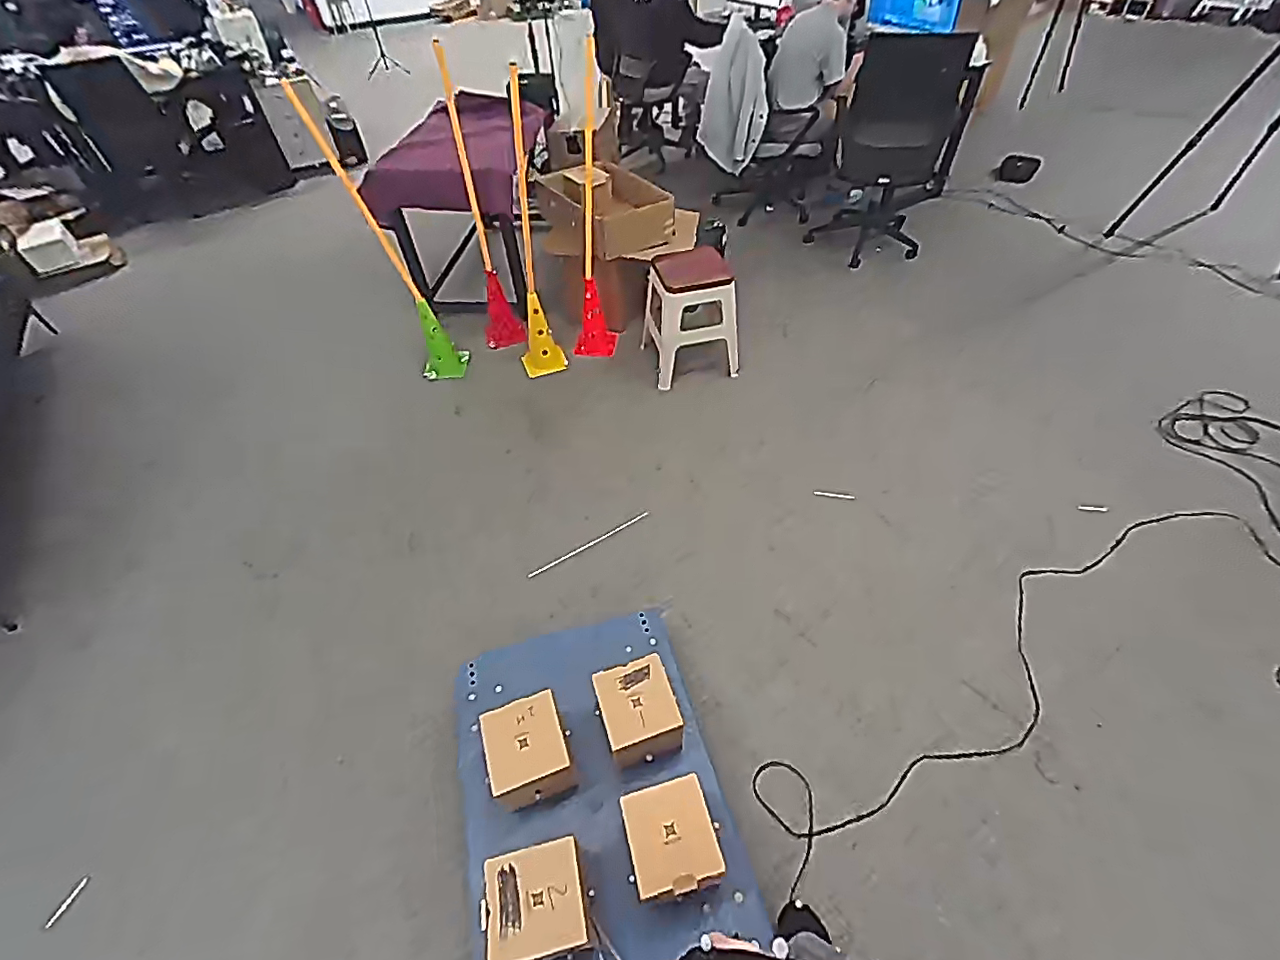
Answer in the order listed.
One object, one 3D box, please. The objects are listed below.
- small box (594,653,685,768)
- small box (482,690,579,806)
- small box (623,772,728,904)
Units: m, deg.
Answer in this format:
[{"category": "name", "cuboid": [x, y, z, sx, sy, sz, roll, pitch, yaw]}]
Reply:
[{"category": "small box", "cuboid": [-0.002, 0.543, 1.272, 0.168, 0.176, 0.179, -16, 50, -10]}, {"category": "small box", "cuboid": [-0.245, 0.614, 1.225, 0.168, 0.176, 0.179, -17, 50, -12]}, {"category": "small box", "cuboid": [0.066, 0.732, 1.104, 0.168, 0.176, 0.179, -14, 50, -8]}]
